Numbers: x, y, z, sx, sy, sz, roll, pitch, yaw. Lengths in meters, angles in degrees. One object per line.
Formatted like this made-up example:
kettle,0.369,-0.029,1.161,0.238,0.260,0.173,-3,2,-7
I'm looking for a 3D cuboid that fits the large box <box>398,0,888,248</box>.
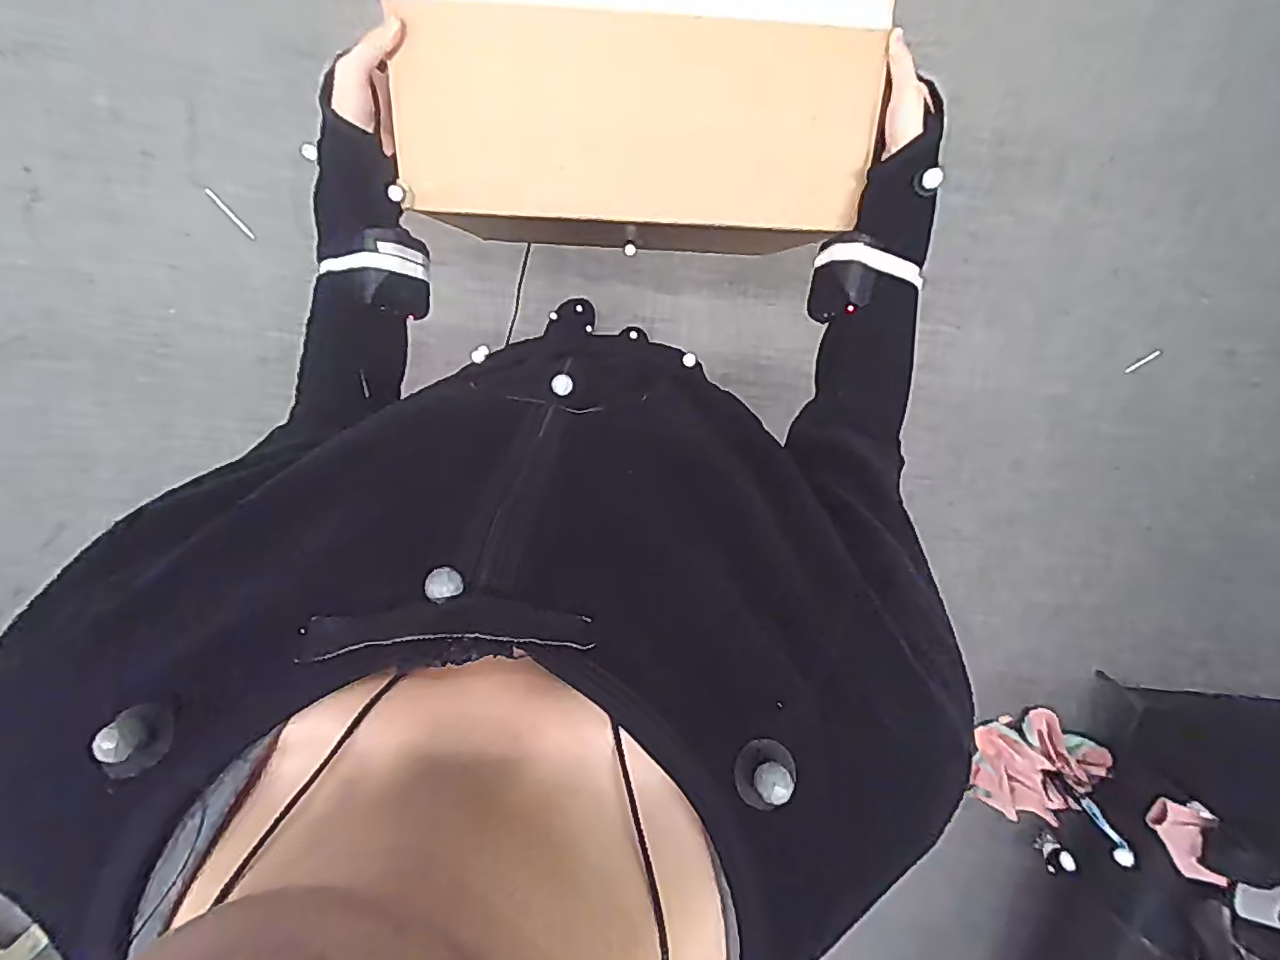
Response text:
large box,0.000,-0.426,0.580,0.408,0.320,0.320,1,108,-3
